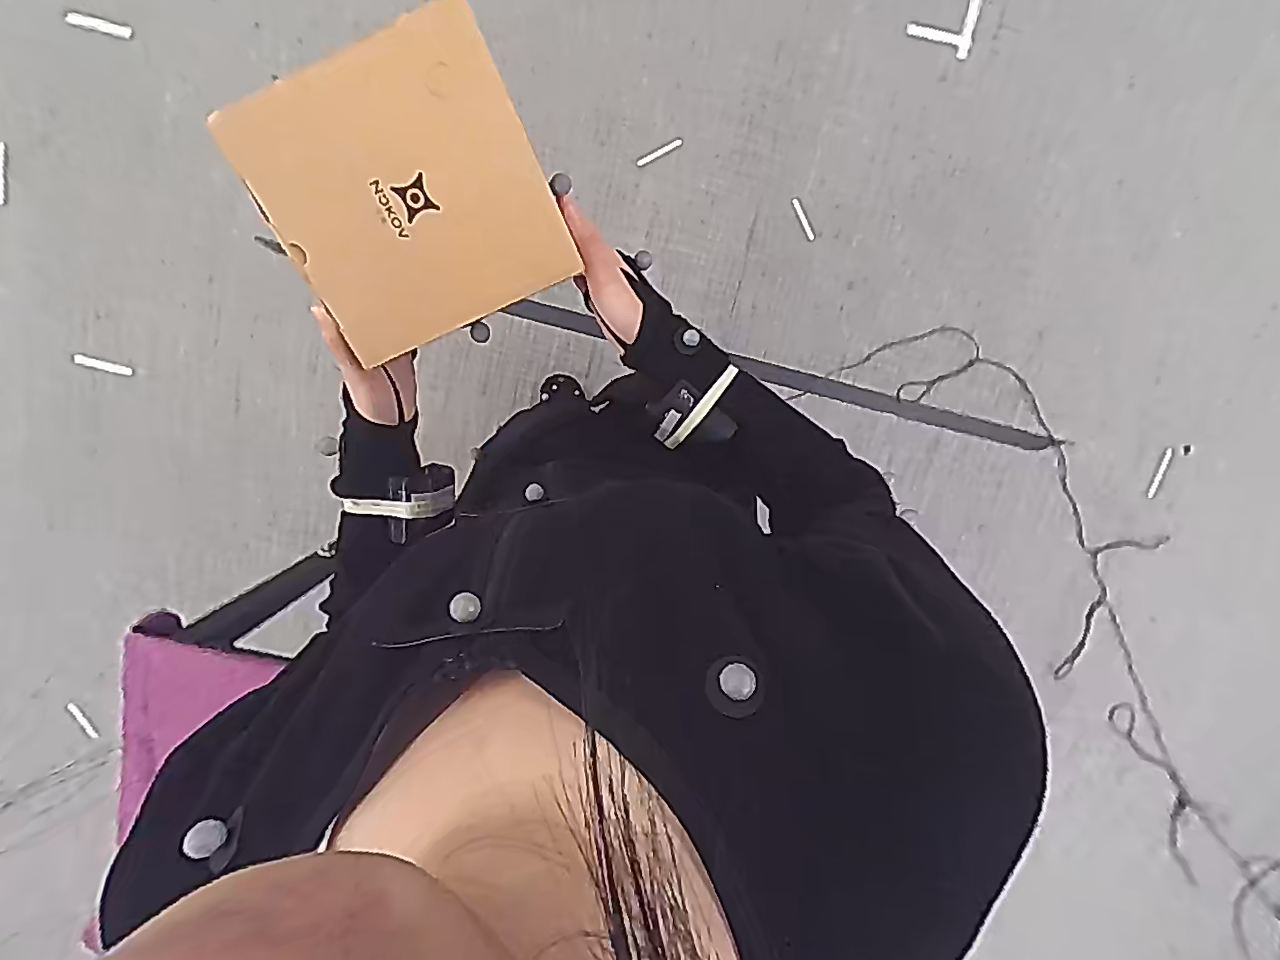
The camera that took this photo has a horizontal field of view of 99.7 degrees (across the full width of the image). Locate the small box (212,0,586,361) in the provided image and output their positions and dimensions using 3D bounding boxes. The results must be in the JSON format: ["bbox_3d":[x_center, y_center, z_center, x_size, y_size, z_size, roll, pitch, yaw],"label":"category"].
[{"bbox_3d":[-0.153,-0.216,0.417,0.179,0.176,0.168,-22,114,5],"label":"small box"}]
